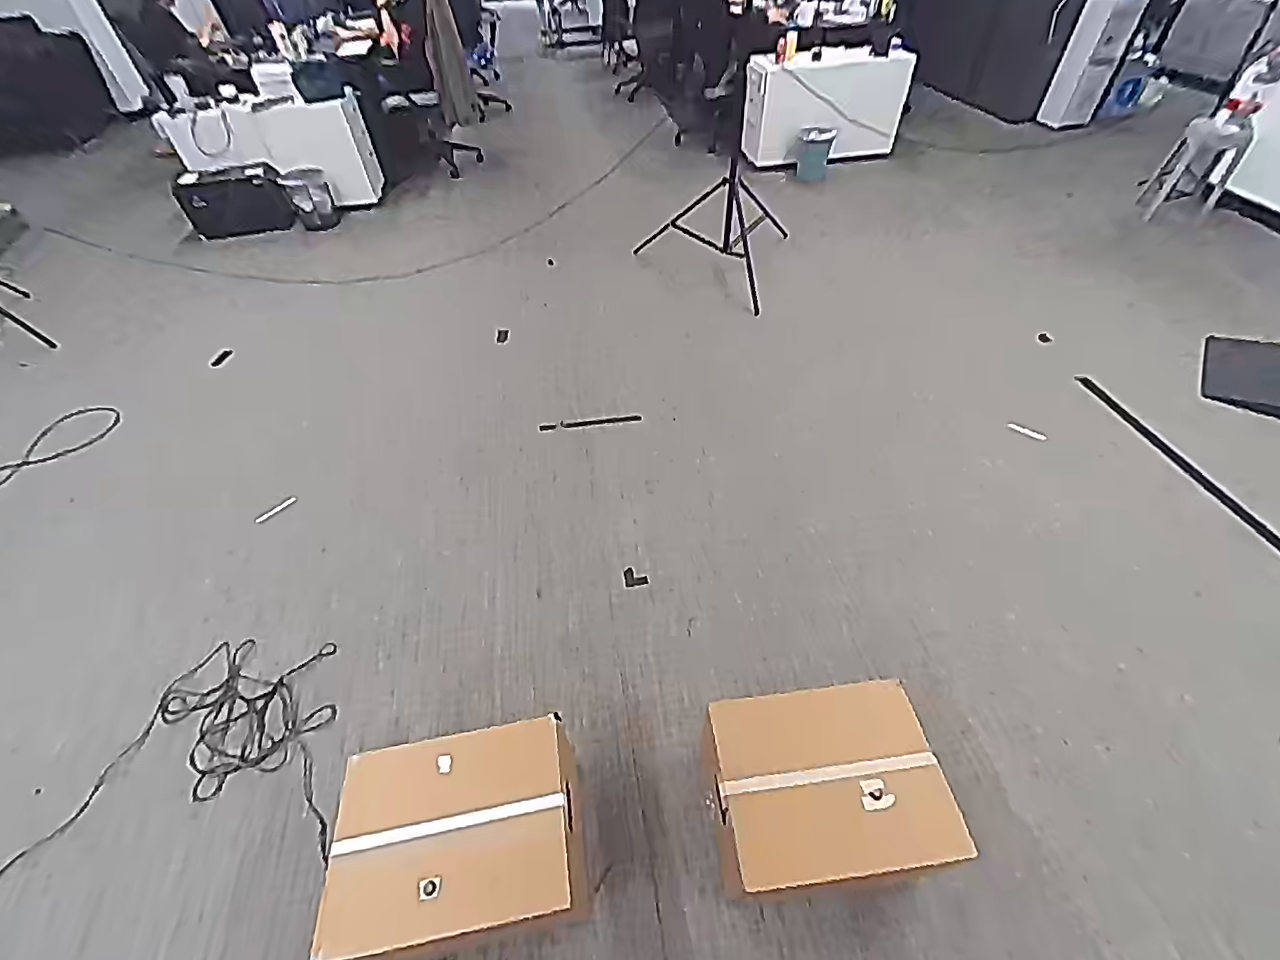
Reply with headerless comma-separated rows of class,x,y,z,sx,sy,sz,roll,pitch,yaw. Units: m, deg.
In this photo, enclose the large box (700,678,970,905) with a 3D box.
large box,0.357,0.646,1.122,0.408,0.320,0.320,-5,48,-4
